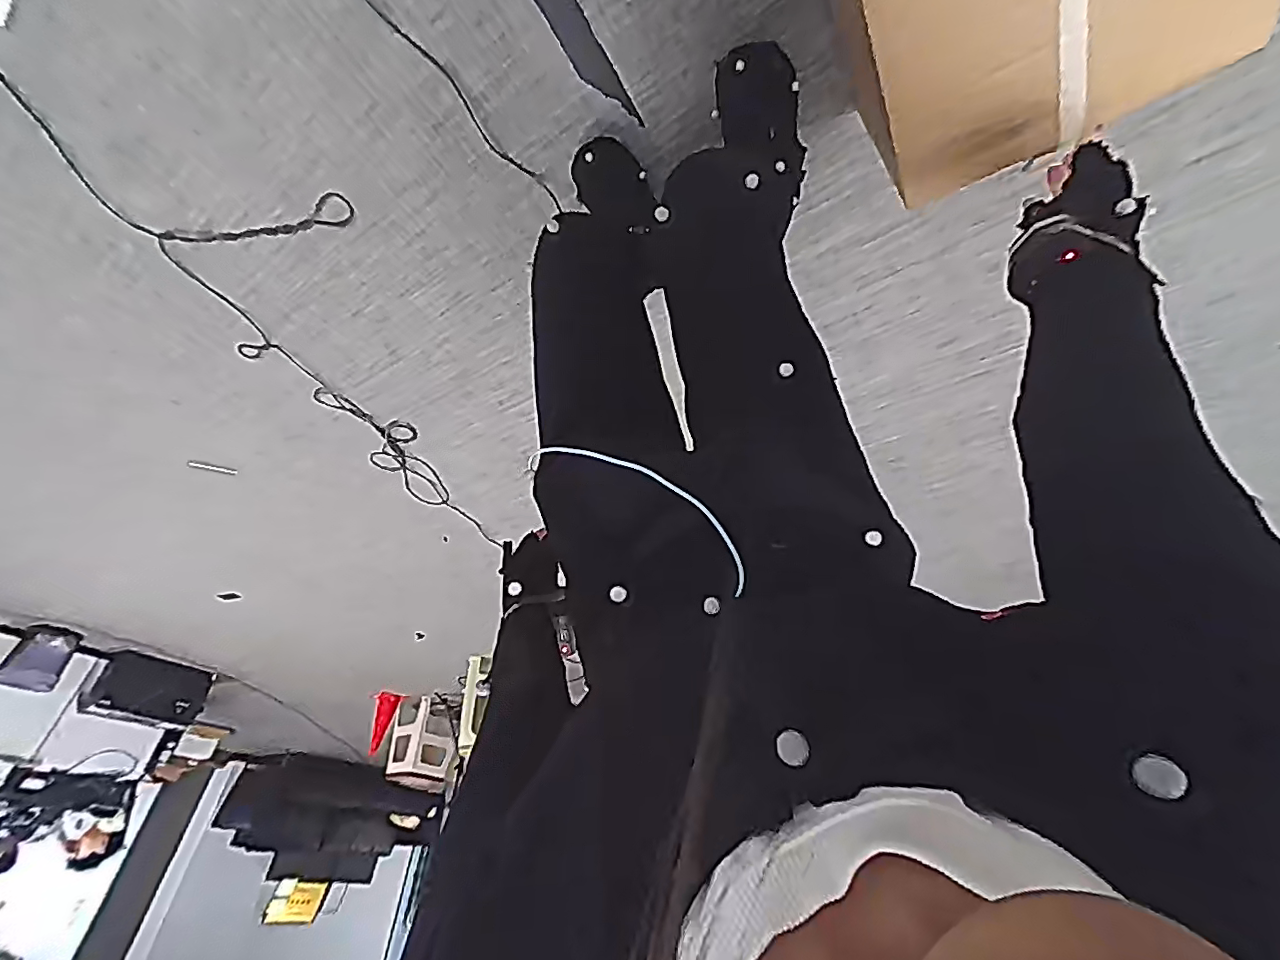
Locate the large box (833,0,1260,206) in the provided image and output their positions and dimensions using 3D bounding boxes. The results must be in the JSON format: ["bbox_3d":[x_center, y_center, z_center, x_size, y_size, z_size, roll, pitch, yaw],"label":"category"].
[{"bbox_3d":[0.360,-0.593,0.548,0.320,0.320,0.408,-19,136,25],"label":"large box"}]
